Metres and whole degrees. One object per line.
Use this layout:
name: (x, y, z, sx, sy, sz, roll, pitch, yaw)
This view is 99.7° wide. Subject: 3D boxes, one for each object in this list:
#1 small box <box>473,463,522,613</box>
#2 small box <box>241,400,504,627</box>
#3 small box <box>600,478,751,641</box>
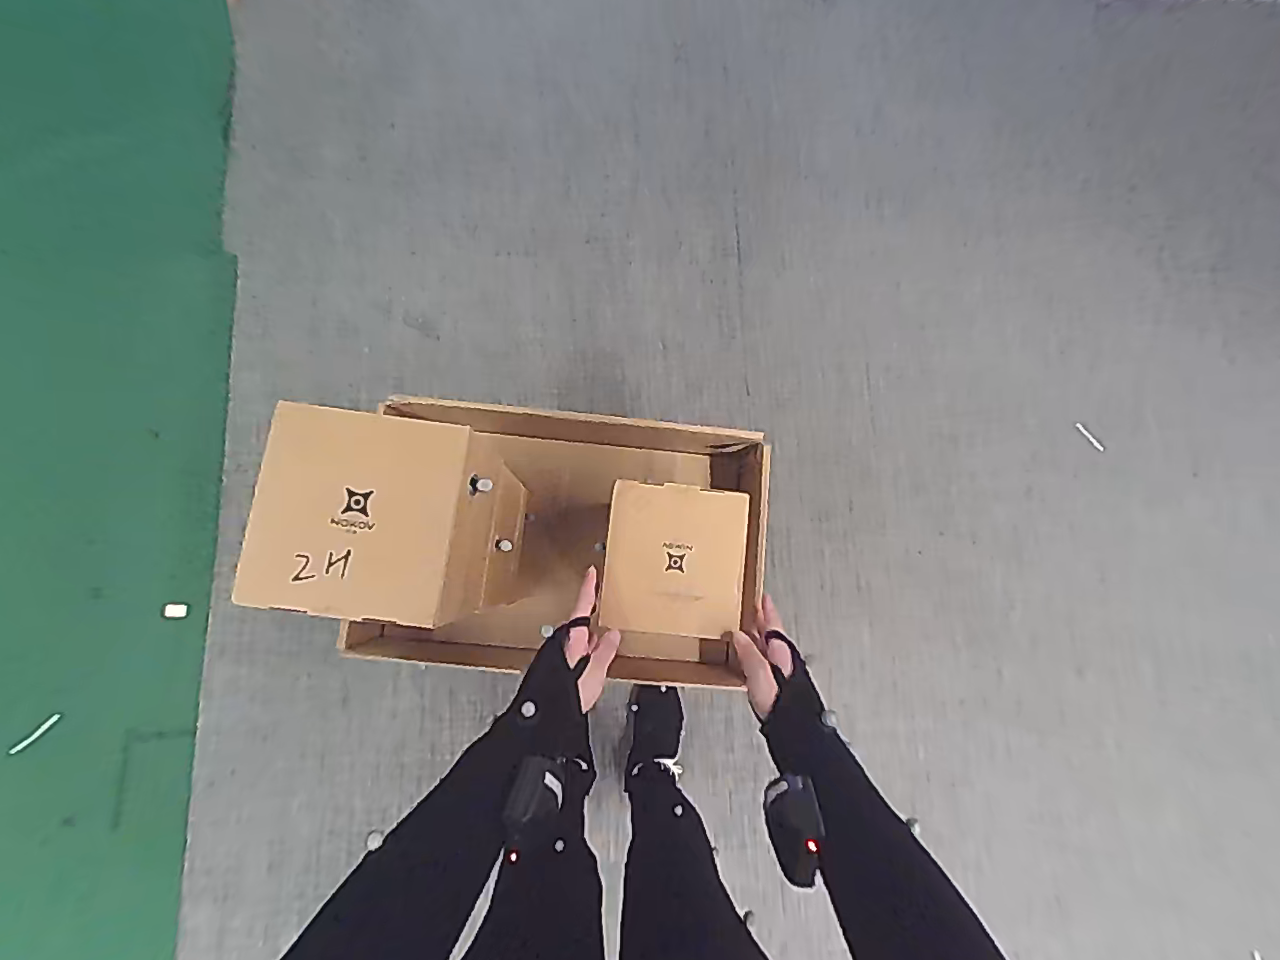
small box: (-0.252, 0.067, 0.700, 0.168, 0.176, 0.179, 8, 81, -4)
small box: (-0.240, 0.038, 0.537, 0.168, 0.176, 0.179, 8, 81, -2)
small box: (0.038, 0.104, 0.712, 0.168, 0.176, 0.179, 7, 81, -2)
